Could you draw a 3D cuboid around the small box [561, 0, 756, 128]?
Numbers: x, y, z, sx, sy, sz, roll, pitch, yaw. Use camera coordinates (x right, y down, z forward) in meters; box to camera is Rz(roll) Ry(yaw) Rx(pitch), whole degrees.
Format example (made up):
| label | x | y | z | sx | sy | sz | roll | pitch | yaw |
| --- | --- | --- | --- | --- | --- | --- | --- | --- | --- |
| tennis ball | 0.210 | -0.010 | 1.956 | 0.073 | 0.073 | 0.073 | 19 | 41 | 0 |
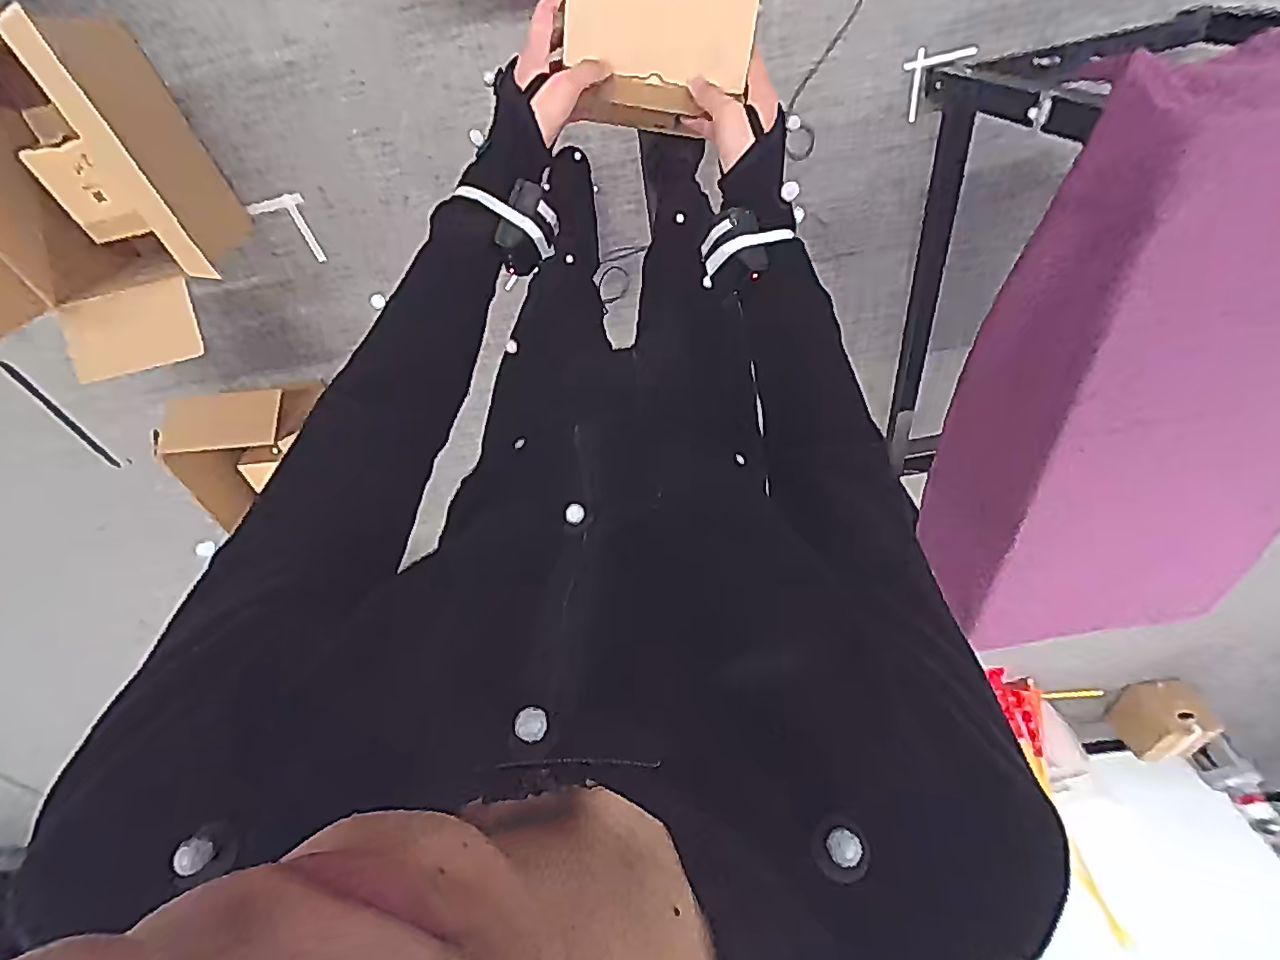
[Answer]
| label | x | y | z | sx | sy | sz | roll | pitch | yaw |
| --- | --- | --- | --- | --- | --- | --- | --- | --- | --- |
| small box | 0.016 | -0.465 | 0.524 | 0.168 | 0.176 | 0.179 | 4 | 111 | -7 |
